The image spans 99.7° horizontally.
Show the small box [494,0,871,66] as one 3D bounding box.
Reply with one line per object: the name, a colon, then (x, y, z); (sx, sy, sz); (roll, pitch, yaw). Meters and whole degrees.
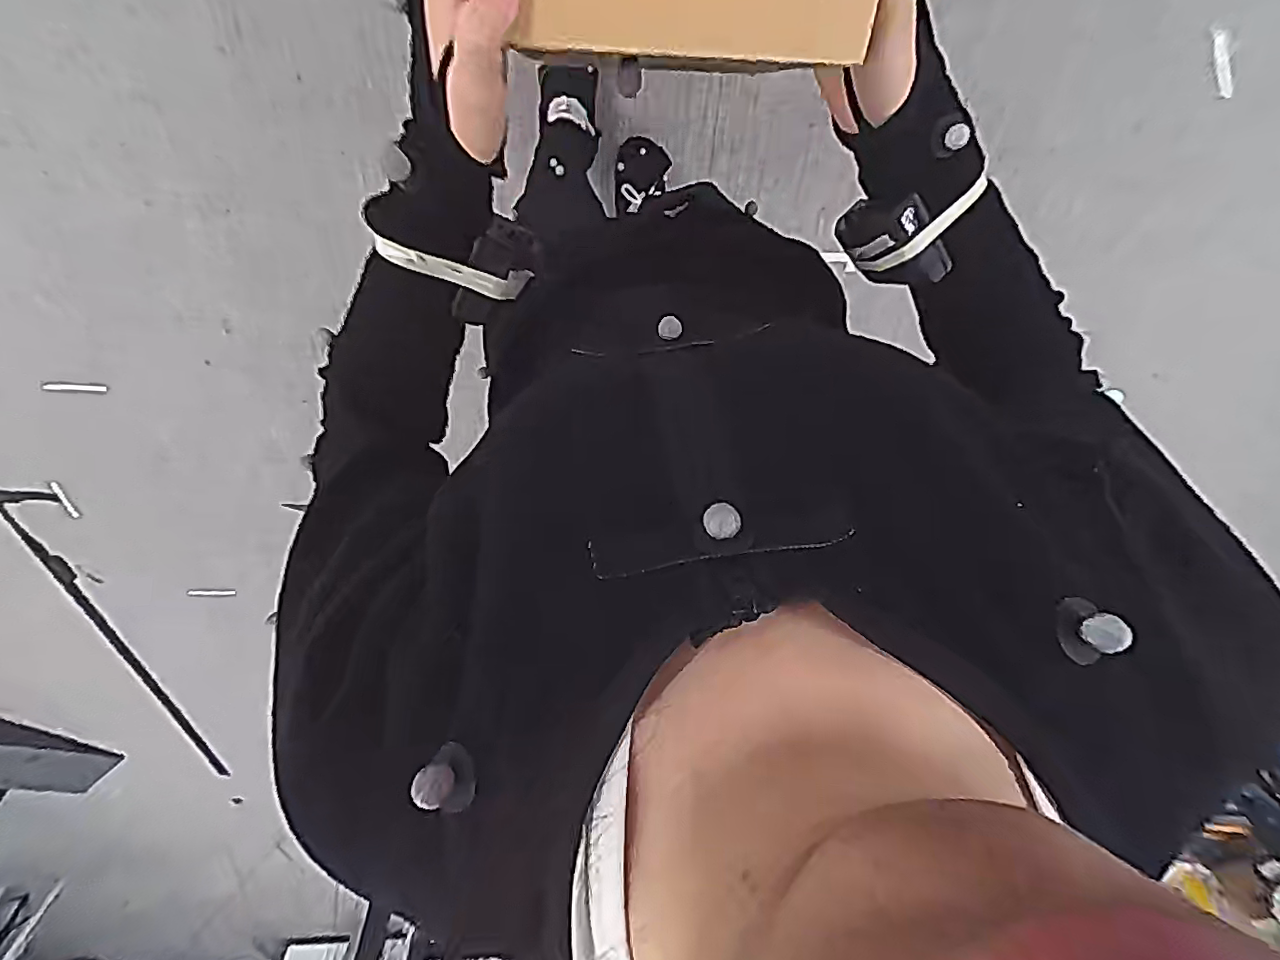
small box: (0.017, -0.310, 0.253); (0.168, 0.176, 0.179); (-1, 125, -6)
